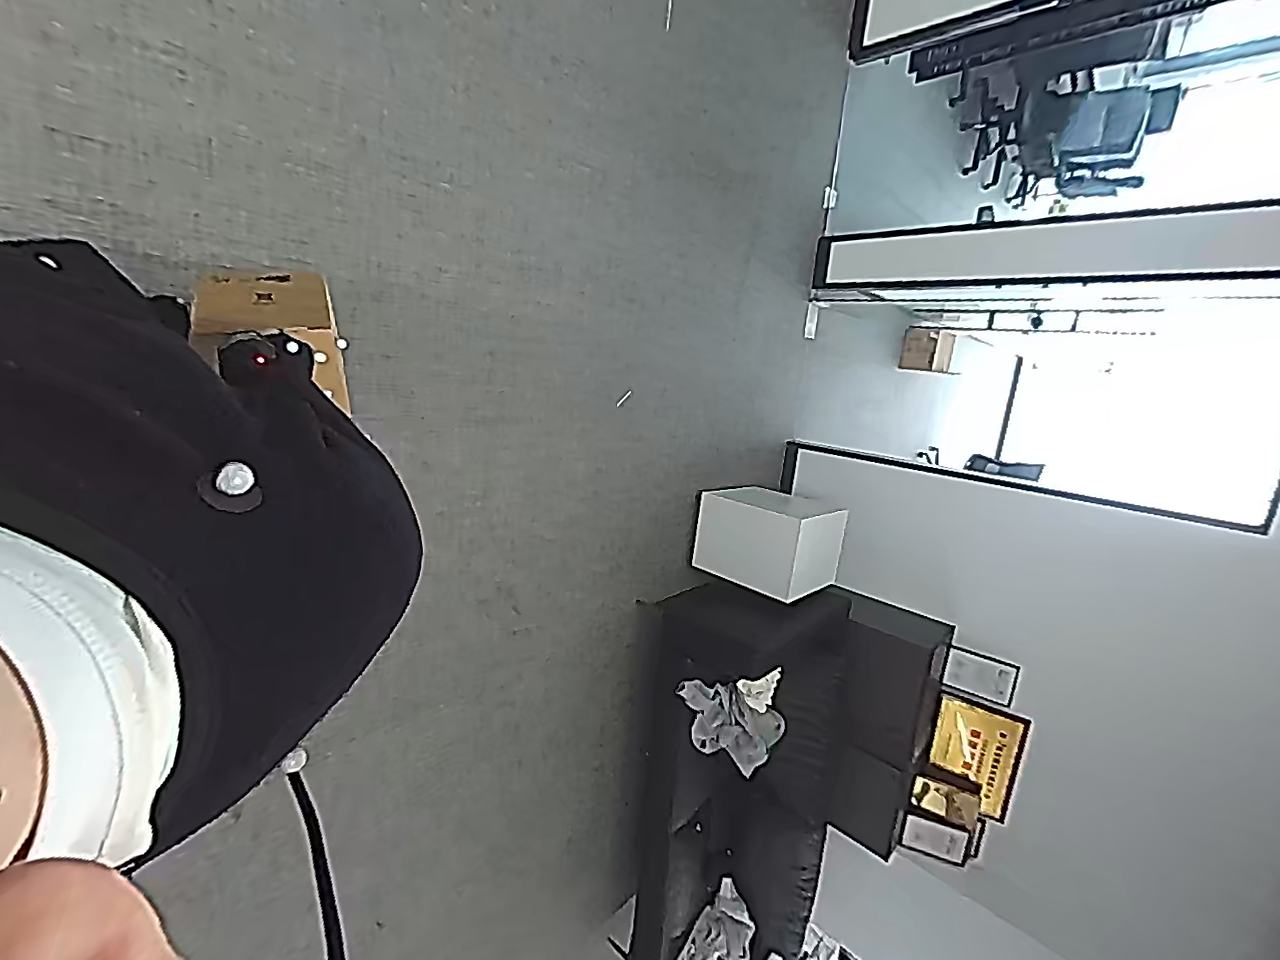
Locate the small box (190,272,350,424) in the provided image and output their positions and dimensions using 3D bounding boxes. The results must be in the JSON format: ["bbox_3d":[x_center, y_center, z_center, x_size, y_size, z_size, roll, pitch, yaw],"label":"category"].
[{"bbox_3d":[-0.564,-0.201,0.841,0.168,0.179,0.176,-13,140,-26],"label":"small box"}]
